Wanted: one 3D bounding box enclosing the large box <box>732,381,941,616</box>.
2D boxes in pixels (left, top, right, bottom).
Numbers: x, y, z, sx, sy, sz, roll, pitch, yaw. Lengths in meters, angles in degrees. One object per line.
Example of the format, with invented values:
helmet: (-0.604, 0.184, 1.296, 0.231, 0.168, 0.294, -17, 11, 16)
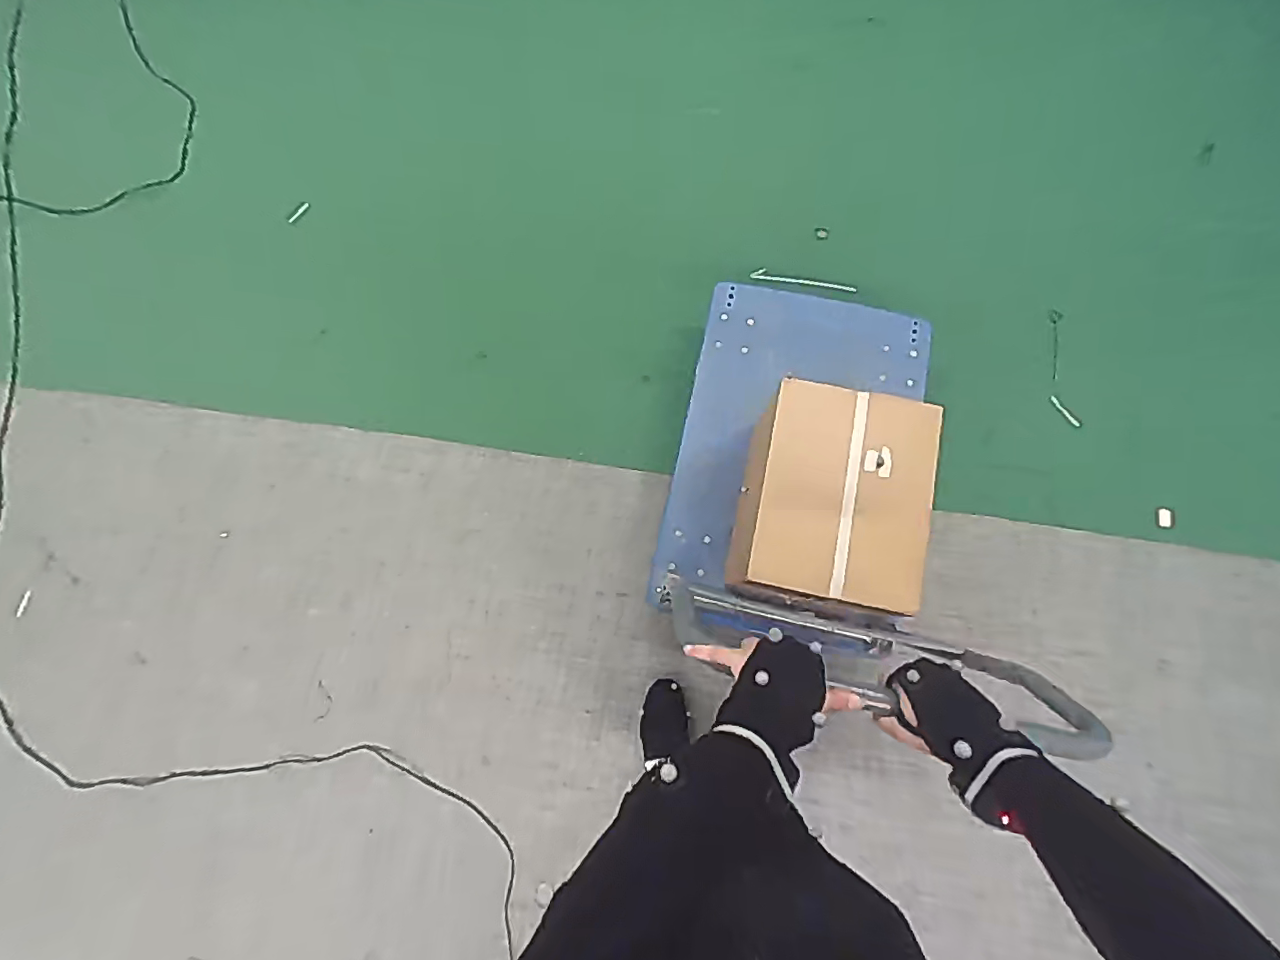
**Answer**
large box: (0.392, 0.058, 1.145, 0.320, 0.320, 0.408, 12, 78, 3)
